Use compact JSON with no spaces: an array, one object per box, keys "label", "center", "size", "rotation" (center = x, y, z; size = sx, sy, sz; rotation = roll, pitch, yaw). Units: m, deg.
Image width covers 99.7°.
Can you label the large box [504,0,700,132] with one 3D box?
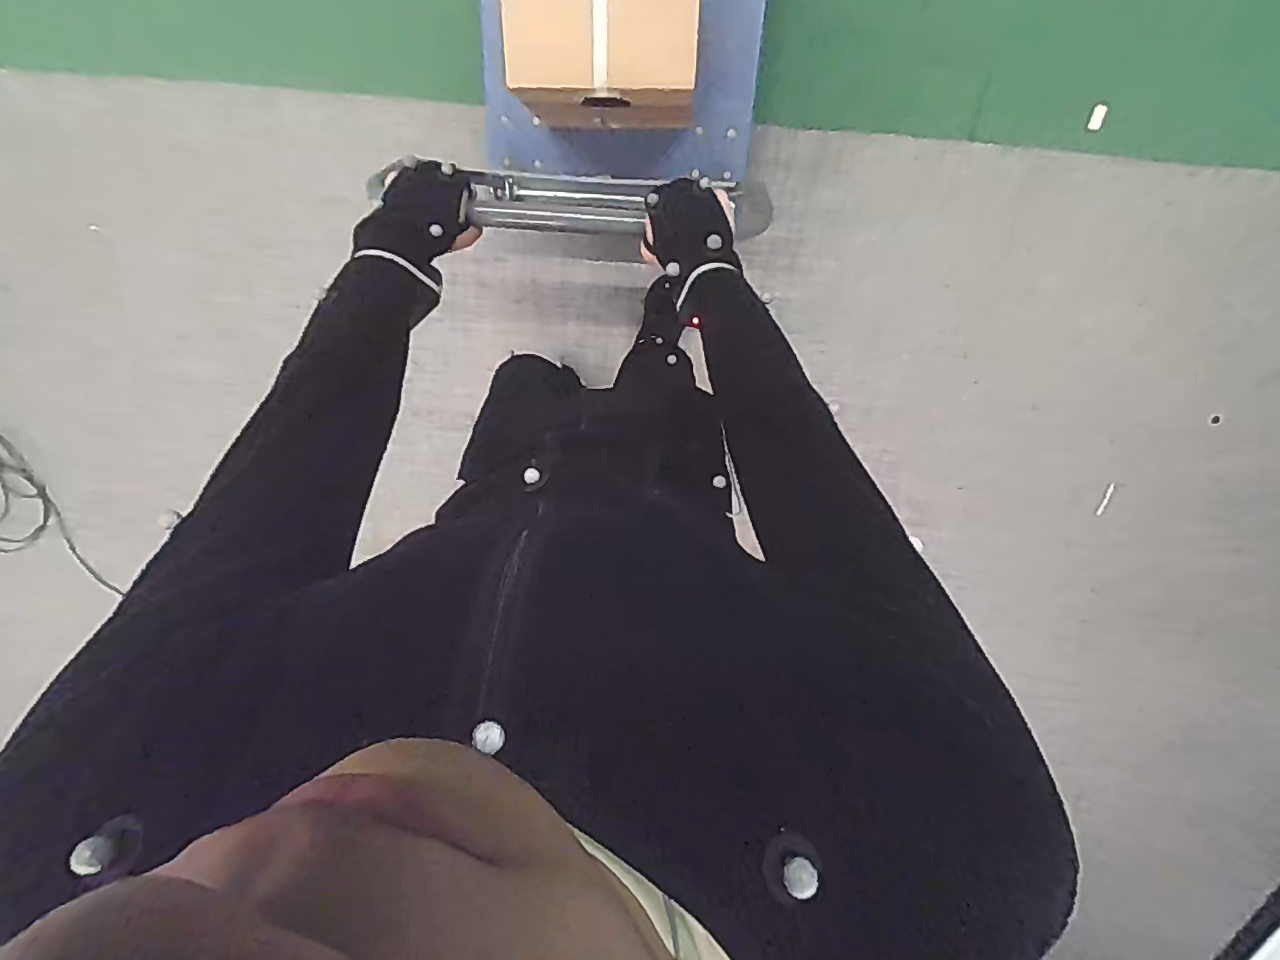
[{"label":"large box","center":[-0.050,-0.878,0.955],"size":[0.320,0.320,0.408],"rotation":[3,113,3]}]
